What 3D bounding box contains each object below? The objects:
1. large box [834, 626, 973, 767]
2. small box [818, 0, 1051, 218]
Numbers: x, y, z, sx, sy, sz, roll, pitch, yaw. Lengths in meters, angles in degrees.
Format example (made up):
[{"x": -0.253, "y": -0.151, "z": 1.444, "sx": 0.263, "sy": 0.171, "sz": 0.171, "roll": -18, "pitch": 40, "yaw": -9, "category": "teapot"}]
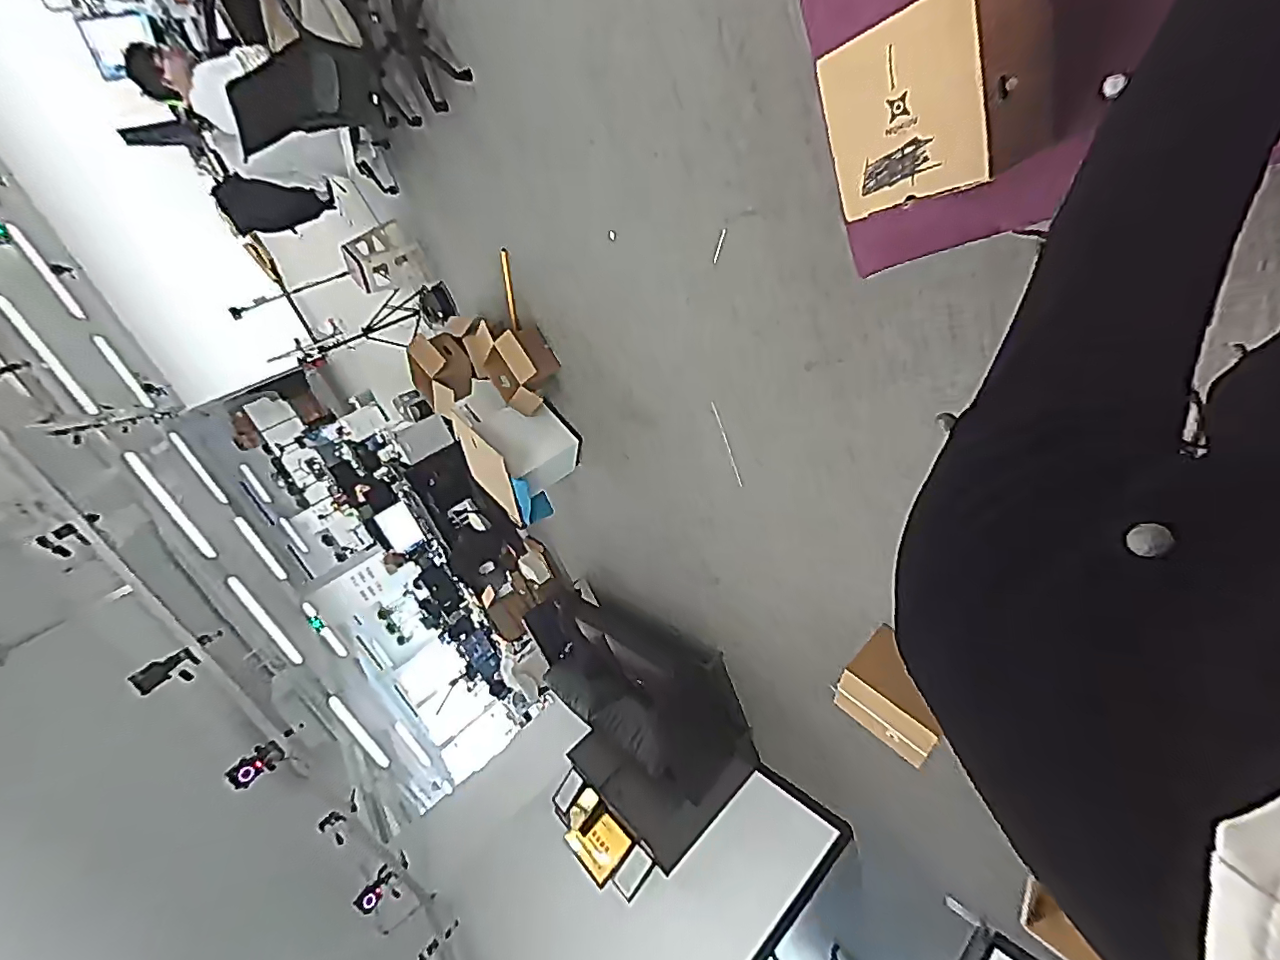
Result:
[{"x": 1.106, "y": 0.908, "z": 2.304, "sx": 0.408, "sy": 0.320, "sz": 0.320, "roll": 33, "pitch": 146, "yaw": 35, "category": "large box"}, {"x": 0.333, "y": -0.425, "z": 0.605, "sx": 0.168, "sy": 0.176, "sz": 0.179, "roll": 11, "pitch": 129, "yaw": 53, "category": "small box"}]
